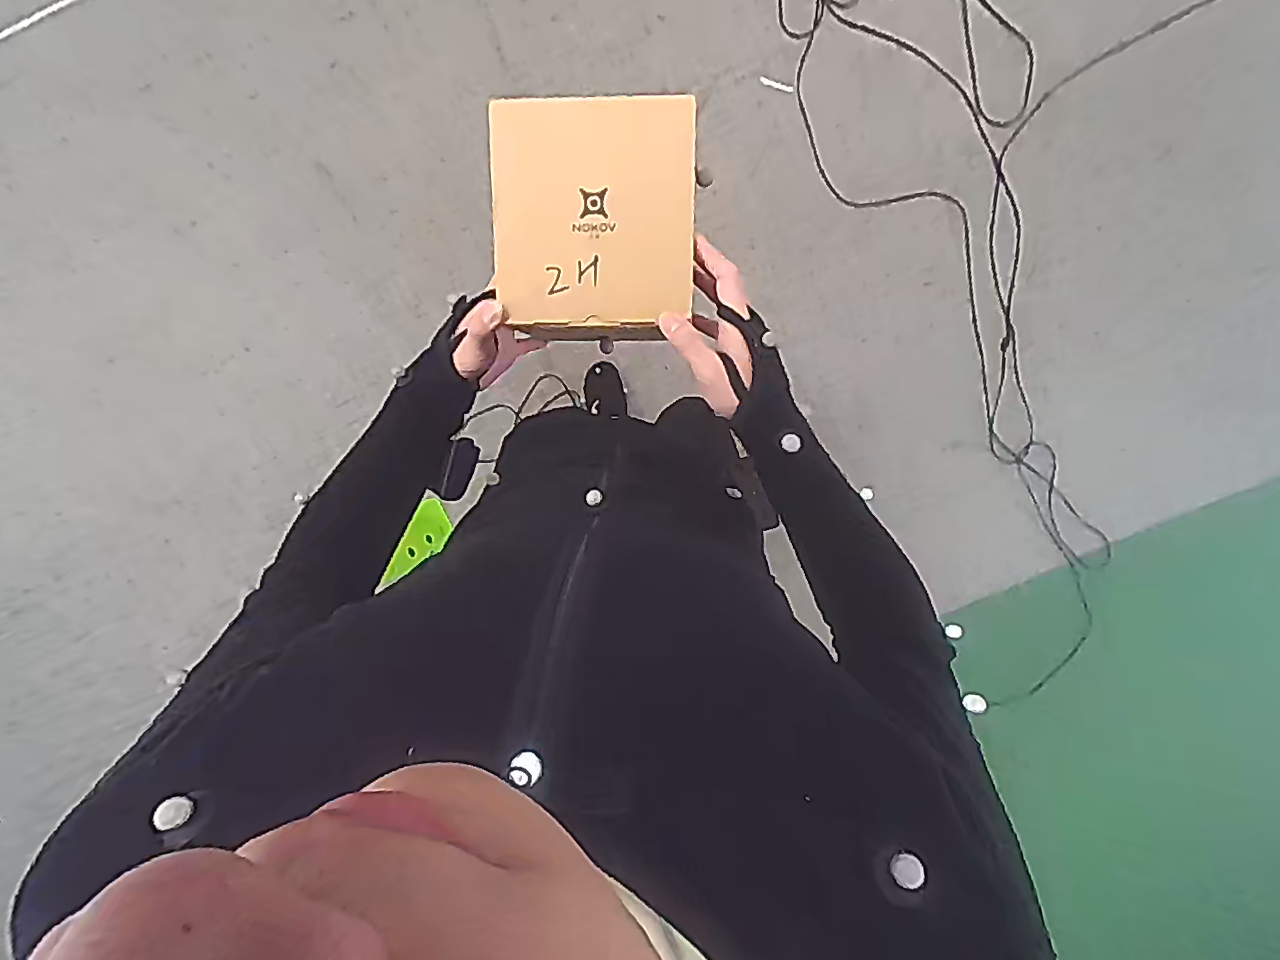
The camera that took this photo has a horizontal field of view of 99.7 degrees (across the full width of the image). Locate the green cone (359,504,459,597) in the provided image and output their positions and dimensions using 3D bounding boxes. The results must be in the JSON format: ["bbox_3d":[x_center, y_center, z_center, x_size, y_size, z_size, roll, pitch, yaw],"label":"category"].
[{"bbox_3d":[-0.654,0.226,1.438,0.202,0.368,0.200,-23,103,1],"label":"green cone"}]
